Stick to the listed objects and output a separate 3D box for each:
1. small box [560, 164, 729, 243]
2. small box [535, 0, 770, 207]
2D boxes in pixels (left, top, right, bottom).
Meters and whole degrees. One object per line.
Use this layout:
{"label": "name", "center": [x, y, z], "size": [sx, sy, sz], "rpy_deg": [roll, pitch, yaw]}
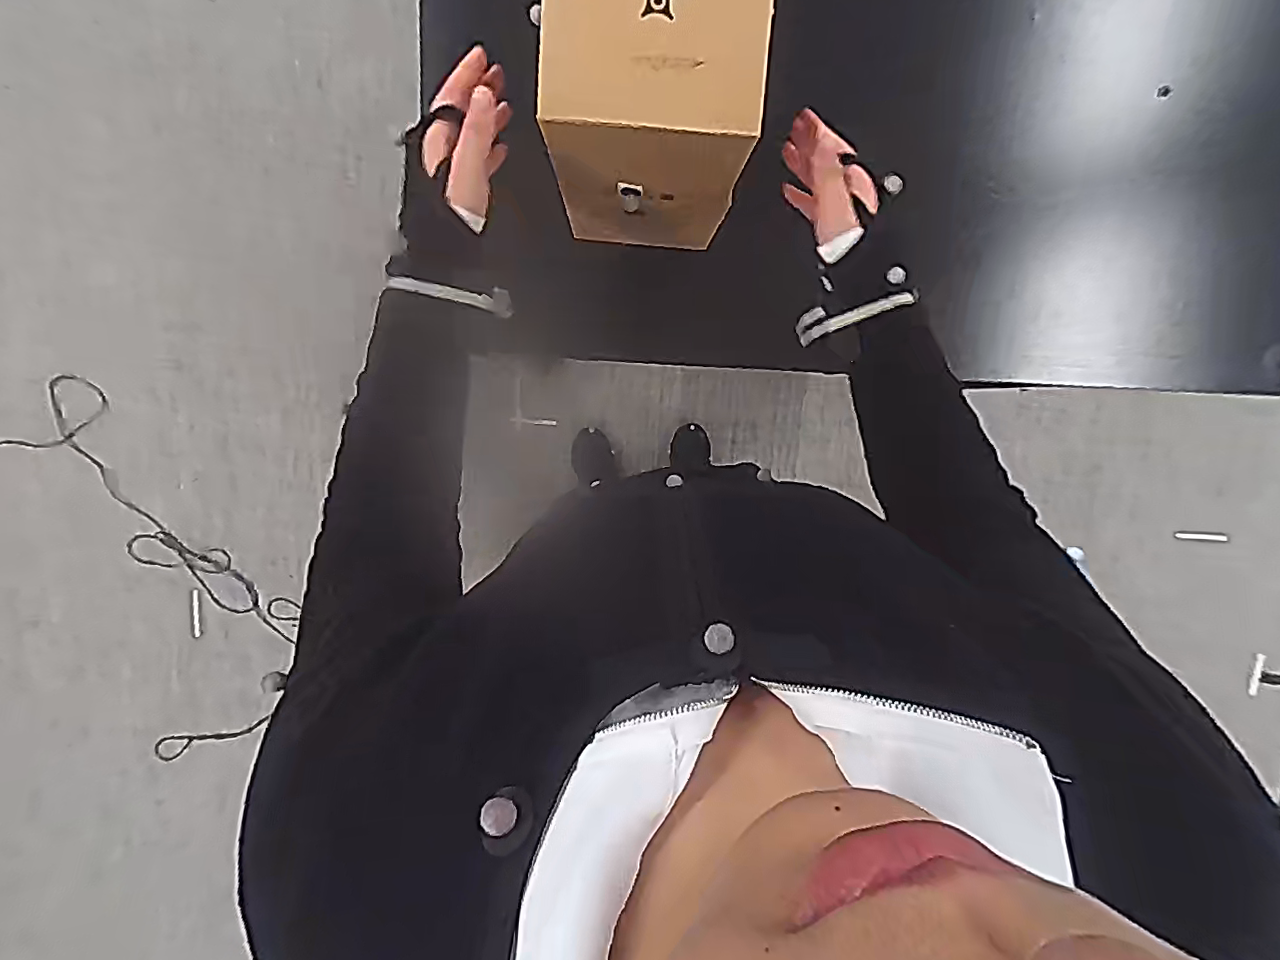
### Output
{"label": "small box", "center": [0.008, -0.385, 0.621], "size": [0.179, 0.176, 0.168], "rpy_deg": [4, 98, -3]}
{"label": "small box", "center": [0.009, -0.360, 0.460], "size": [0.168, 0.176, 0.179], "rpy_deg": [4, 99, -2]}
